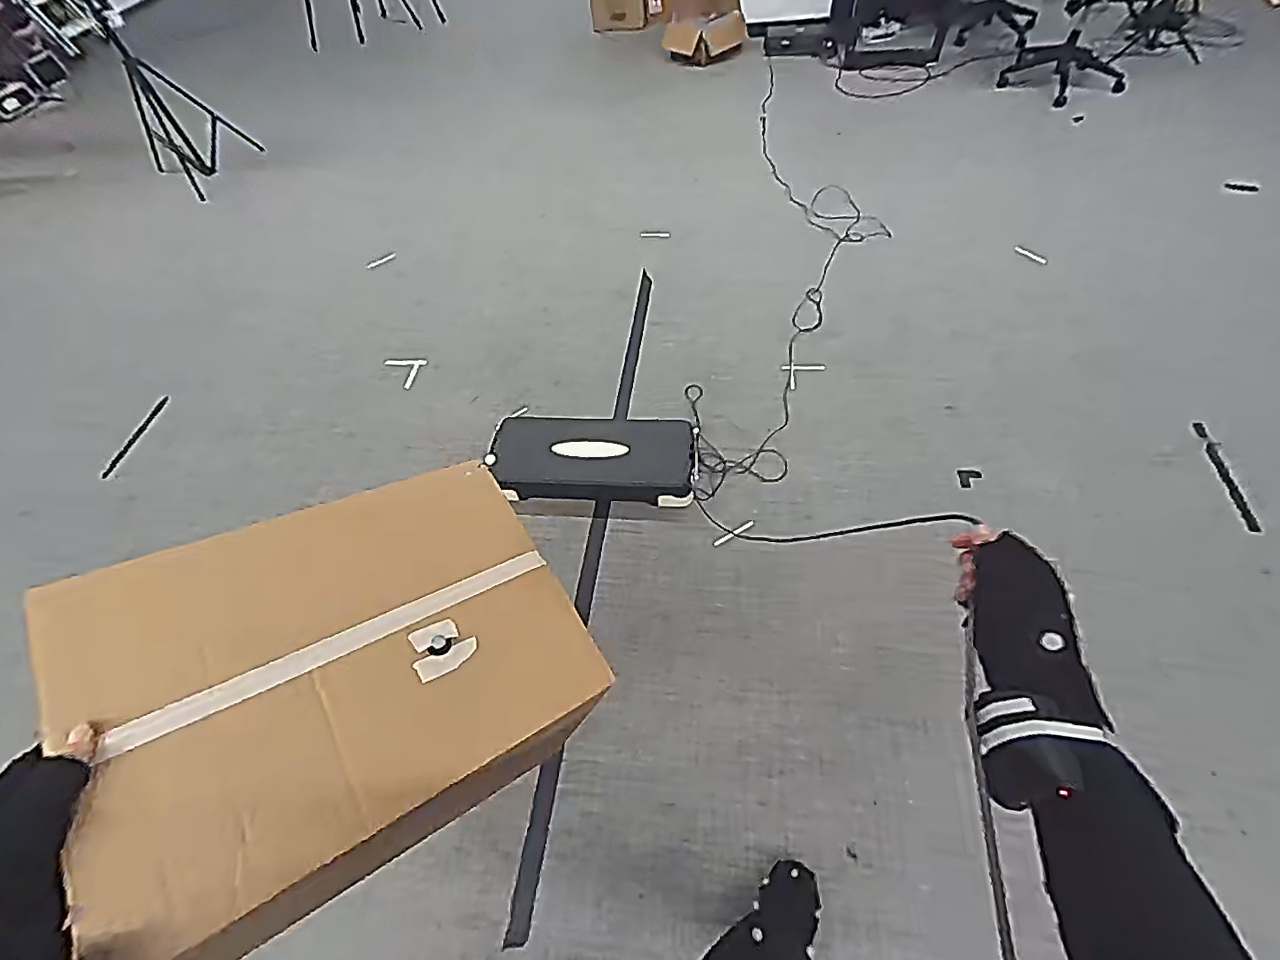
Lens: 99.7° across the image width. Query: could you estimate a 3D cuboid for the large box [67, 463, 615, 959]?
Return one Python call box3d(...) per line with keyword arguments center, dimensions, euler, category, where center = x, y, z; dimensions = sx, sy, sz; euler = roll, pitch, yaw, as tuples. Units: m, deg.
box3d(center=(-0.303, 0.240, 0.626), dimensions=(0.408, 0.320, 0.320), euler=(-21, 63, -33), category="large box")
